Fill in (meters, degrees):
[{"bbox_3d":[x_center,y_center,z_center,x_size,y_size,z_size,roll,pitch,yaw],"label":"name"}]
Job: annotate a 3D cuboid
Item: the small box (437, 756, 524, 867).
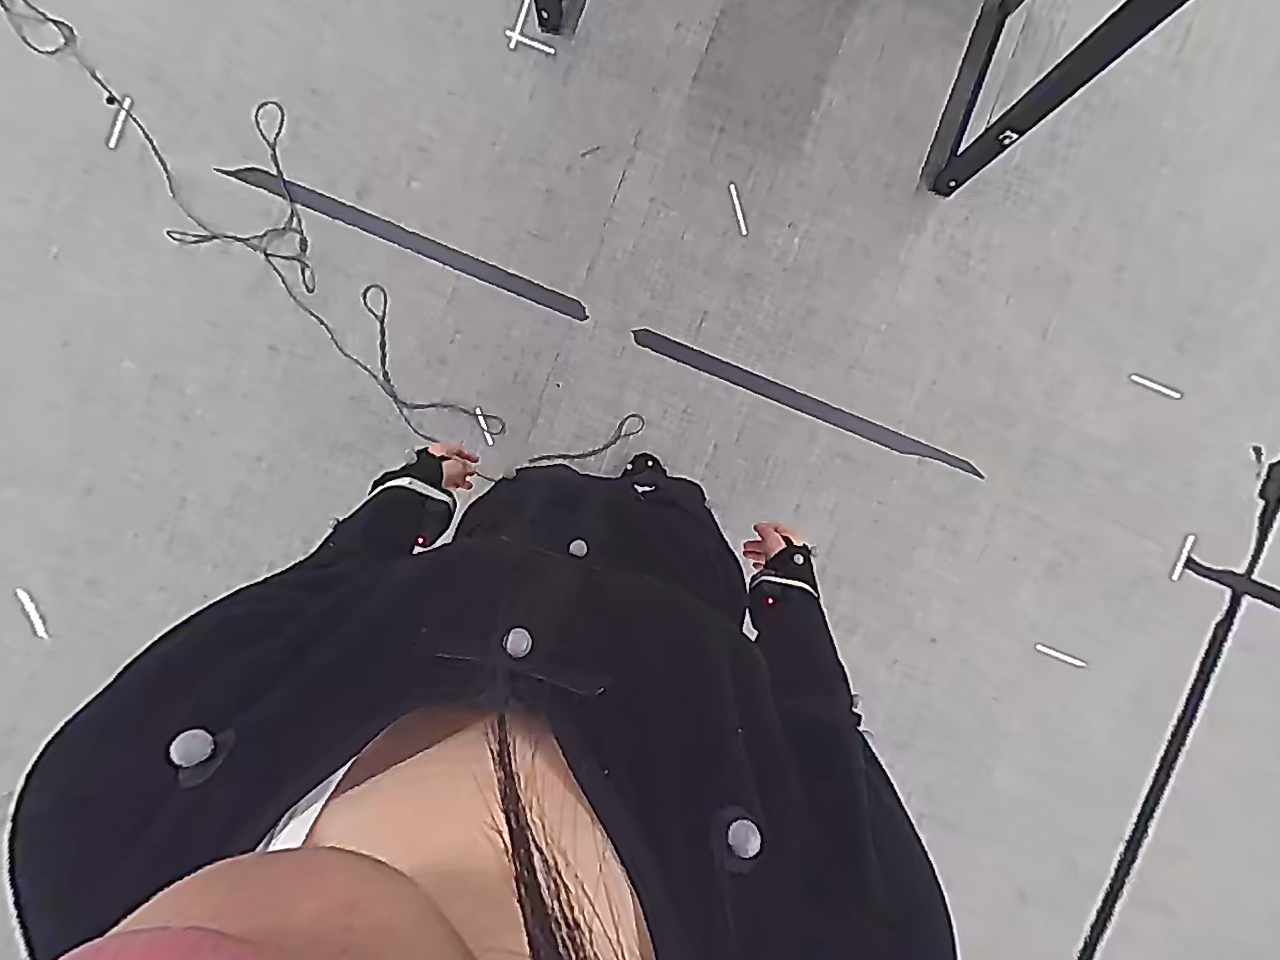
[{"bbox_3d":[-0.408,0.855,1.409,0.168,0.176,0.179,12,92,-3],"label":"small box"}]
